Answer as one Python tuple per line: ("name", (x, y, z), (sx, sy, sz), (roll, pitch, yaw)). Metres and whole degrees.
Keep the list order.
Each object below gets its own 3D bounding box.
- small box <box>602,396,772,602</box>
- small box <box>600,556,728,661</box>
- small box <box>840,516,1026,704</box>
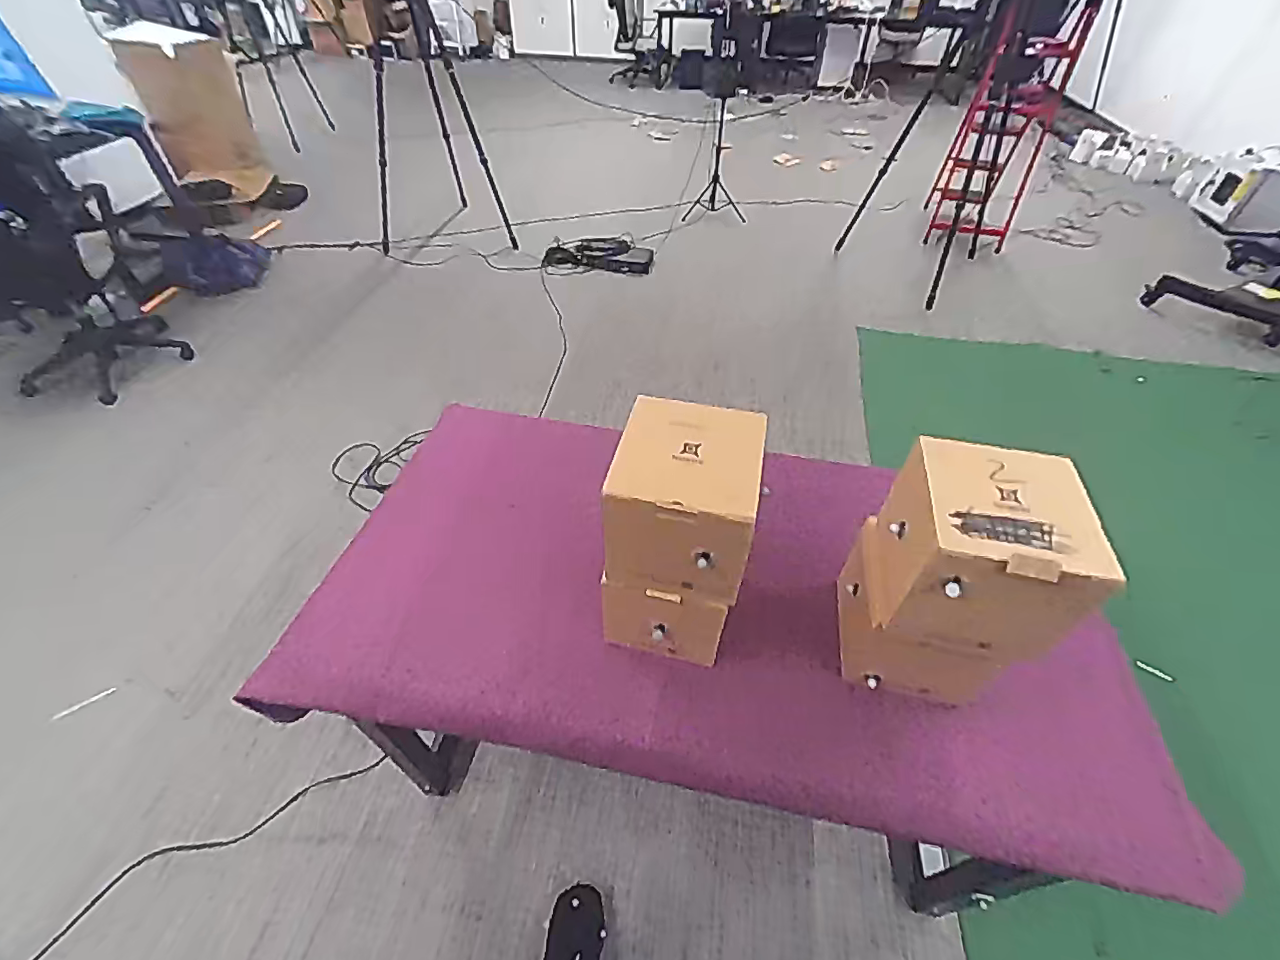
("small box", (0.059, 0.025, 0.666), (0.168, 0.176, 0.179), (11, 47, 9))
("small box", (0.049, 0.137, 0.785), (0.168, 0.176, 0.179), (11, 48, 9))
("small box", (0.386, 0.182, 0.747), (0.168, 0.176, 0.179), (13, 48, 9))
